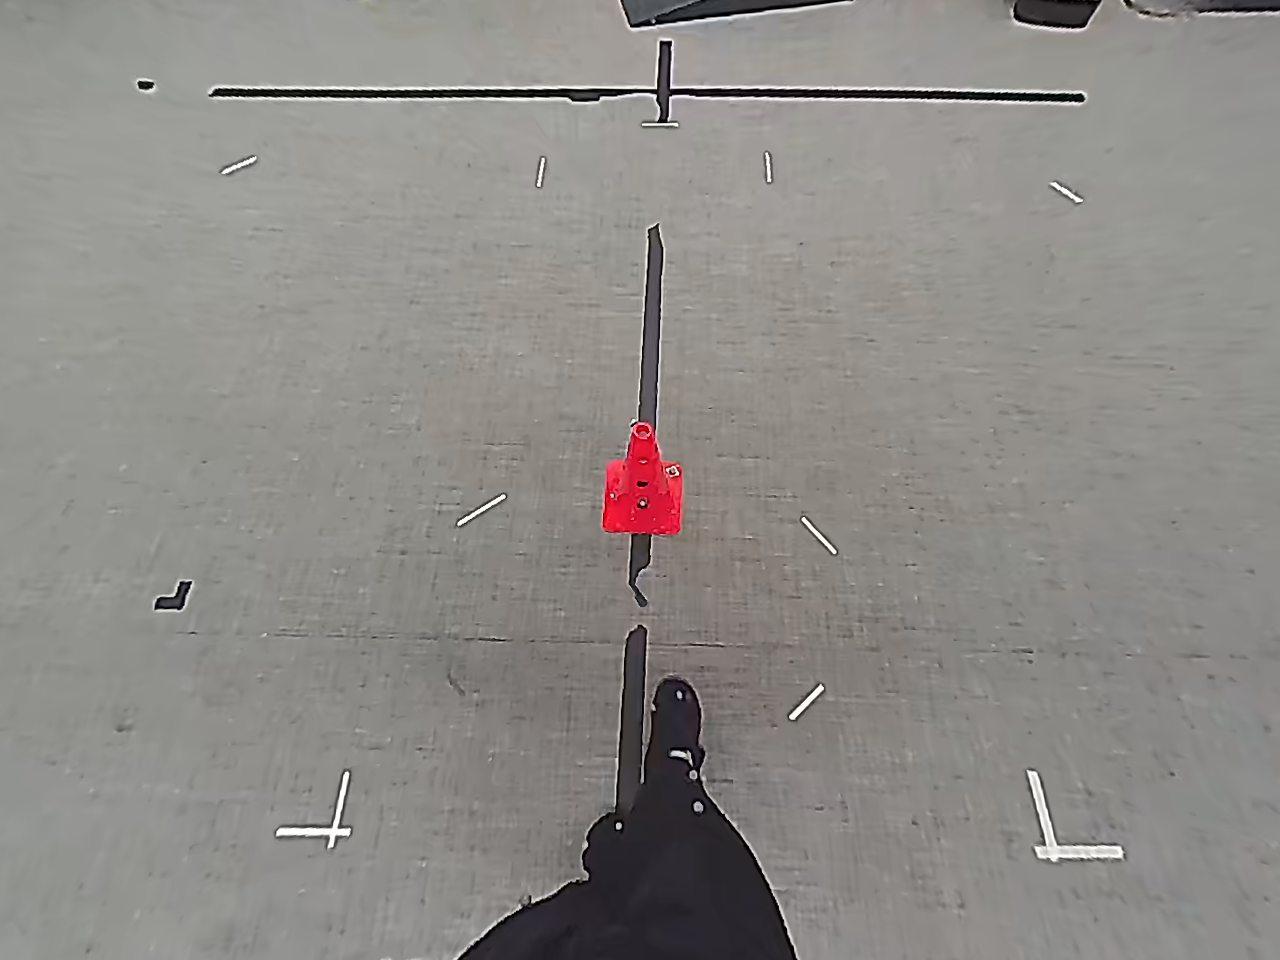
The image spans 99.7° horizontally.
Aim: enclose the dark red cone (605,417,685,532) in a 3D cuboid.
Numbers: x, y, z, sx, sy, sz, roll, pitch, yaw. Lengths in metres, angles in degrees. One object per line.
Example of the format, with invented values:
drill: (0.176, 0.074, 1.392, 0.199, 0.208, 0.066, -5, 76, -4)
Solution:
dark red cone: (0.009, -0.031, 1.217, 0.201, 0.394, 0.202, 1, 67, 2)
